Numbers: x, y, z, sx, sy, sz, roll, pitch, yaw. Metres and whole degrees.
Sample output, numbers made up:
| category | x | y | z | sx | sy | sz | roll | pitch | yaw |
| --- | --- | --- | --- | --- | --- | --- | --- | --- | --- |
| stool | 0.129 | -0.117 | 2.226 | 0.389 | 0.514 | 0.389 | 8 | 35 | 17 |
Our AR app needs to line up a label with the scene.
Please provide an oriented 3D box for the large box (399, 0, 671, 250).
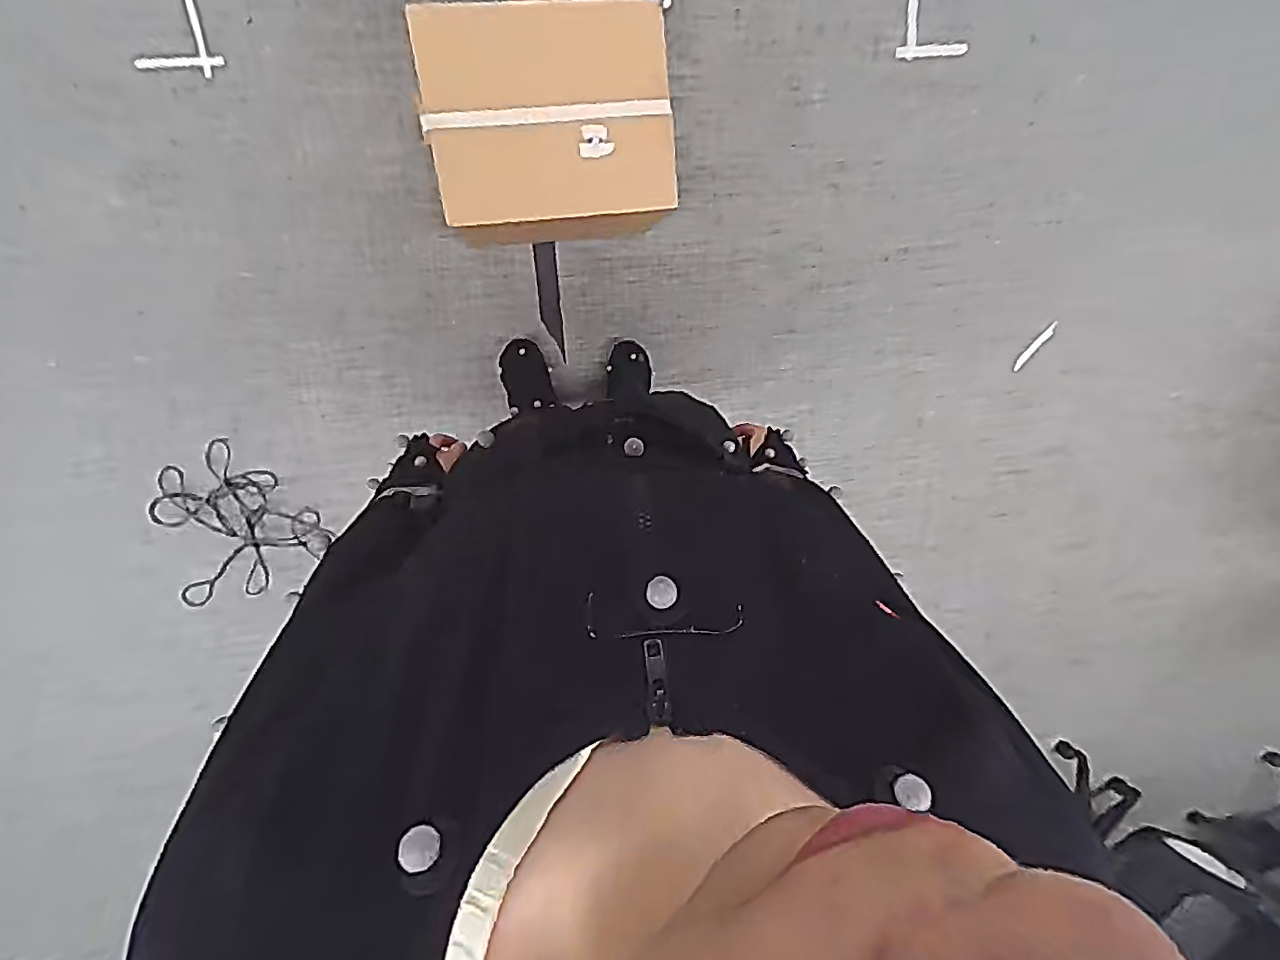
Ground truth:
| category | x | y | z | sx | sy | sz | roll | pitch | yaw |
| --- | --- | --- | --- | --- | --- | --- | --- | --- | --- |
| large box | -0.183 | -0.640 | 1.028 | 0.408 | 0.320 | 0.320 | -9 | 109 | -8 |
